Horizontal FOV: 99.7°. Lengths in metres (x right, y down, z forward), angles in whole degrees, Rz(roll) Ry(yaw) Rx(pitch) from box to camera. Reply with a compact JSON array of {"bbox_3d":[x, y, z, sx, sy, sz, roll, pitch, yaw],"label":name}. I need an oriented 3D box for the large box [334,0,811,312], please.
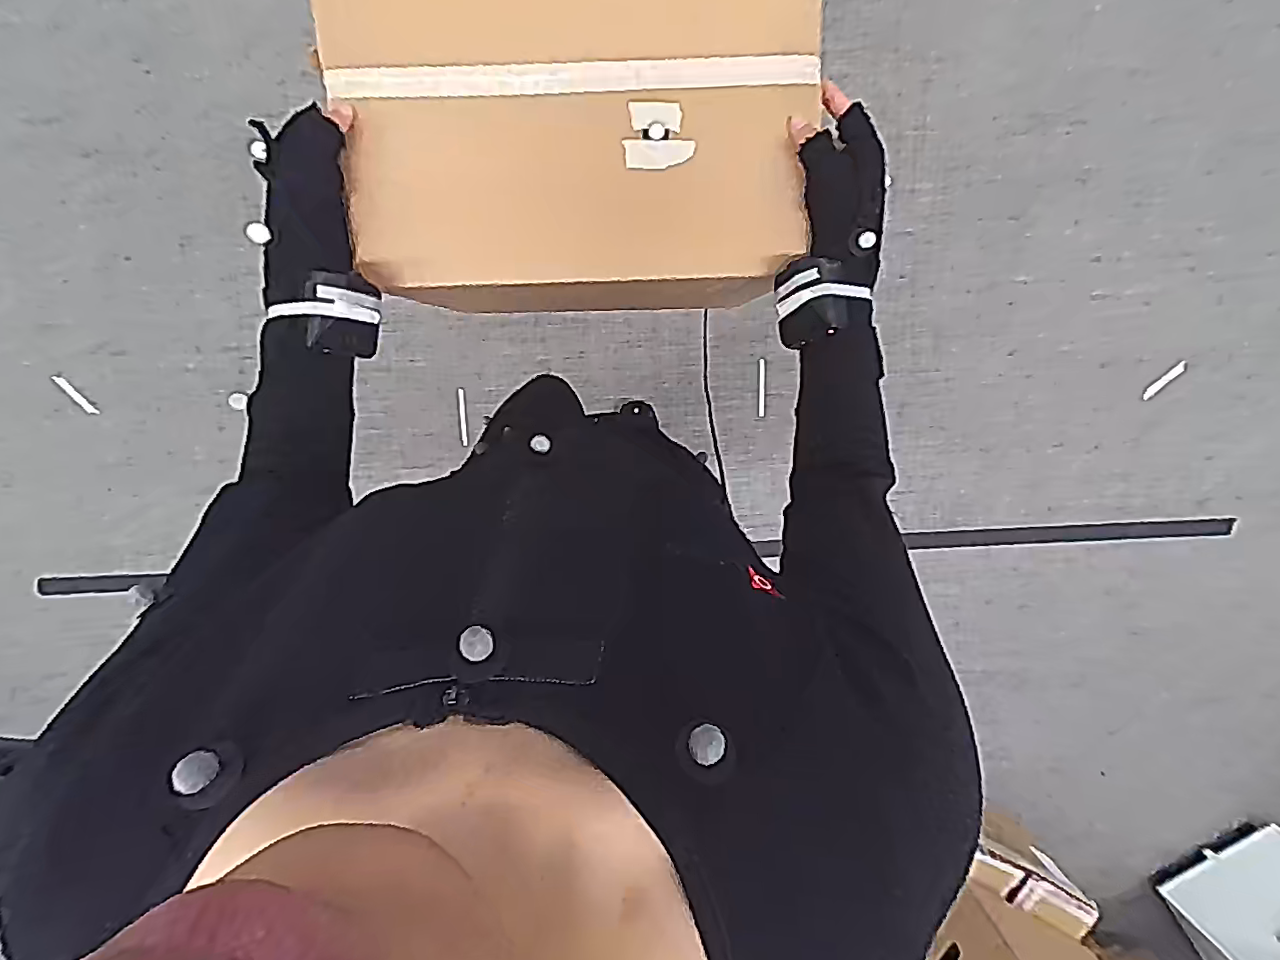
[{"bbox_3d":[-0.058,-0.372,0.610,0.408,0.320,0.320,-3,104,-1],"label":"large box"}]
